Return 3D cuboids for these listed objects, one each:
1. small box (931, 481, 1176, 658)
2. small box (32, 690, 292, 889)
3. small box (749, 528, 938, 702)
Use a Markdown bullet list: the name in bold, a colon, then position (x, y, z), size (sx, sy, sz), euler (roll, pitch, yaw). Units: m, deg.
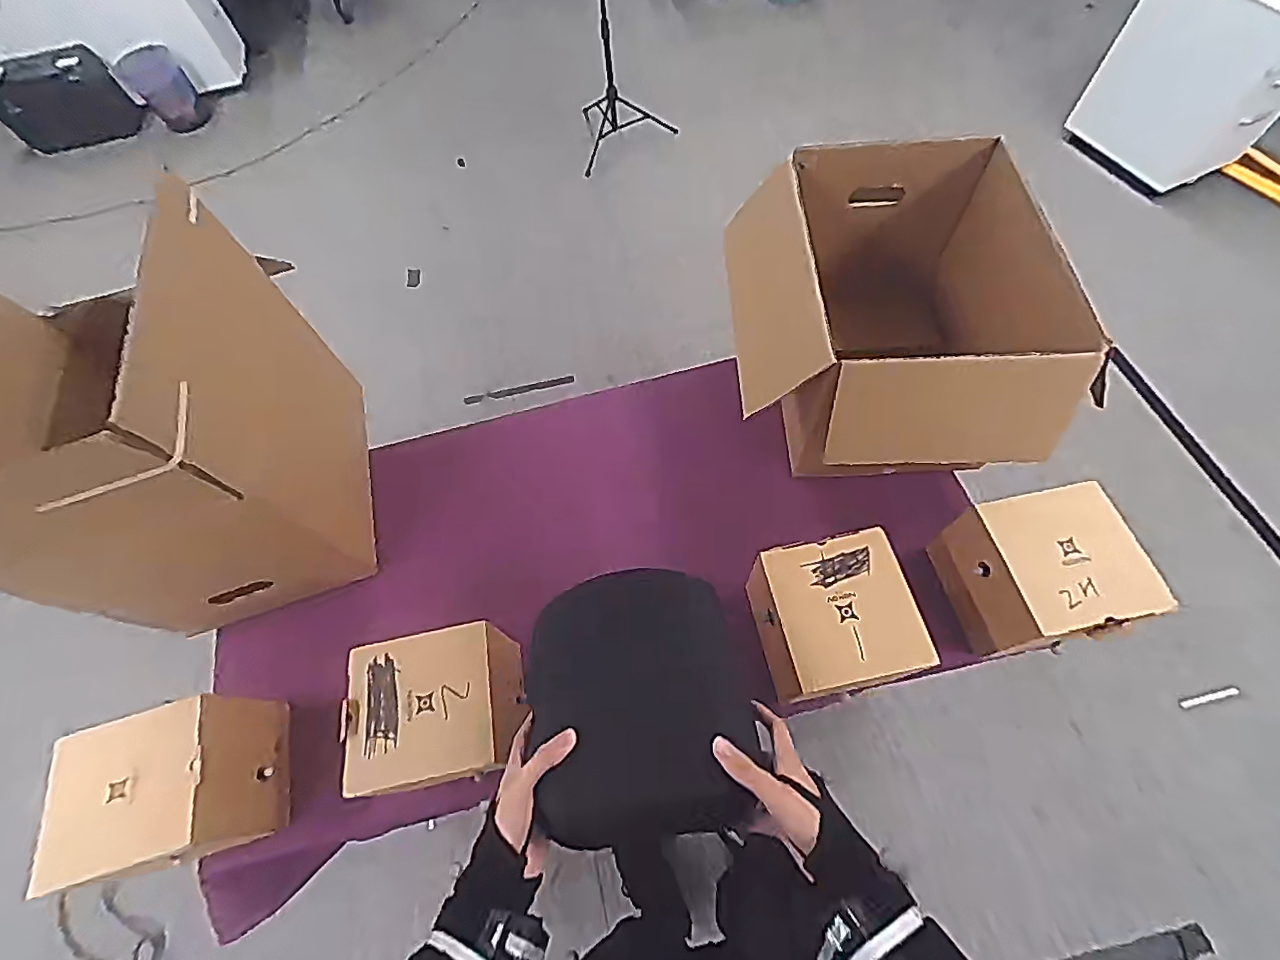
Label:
- **small box**: position (0.531, 0.127, 0.731), size (0.168, 0.176, 0.179), euler (-11, 63, 0)
- **small box**: position (-0.589, 0.388, 0.695), size (0.179, 0.176, 0.168), euler (-16, 63, -5)
- **small box**: position (0.252, 0.187, 0.726), size (0.168, 0.176, 0.179), euler (-12, 64, -1)
